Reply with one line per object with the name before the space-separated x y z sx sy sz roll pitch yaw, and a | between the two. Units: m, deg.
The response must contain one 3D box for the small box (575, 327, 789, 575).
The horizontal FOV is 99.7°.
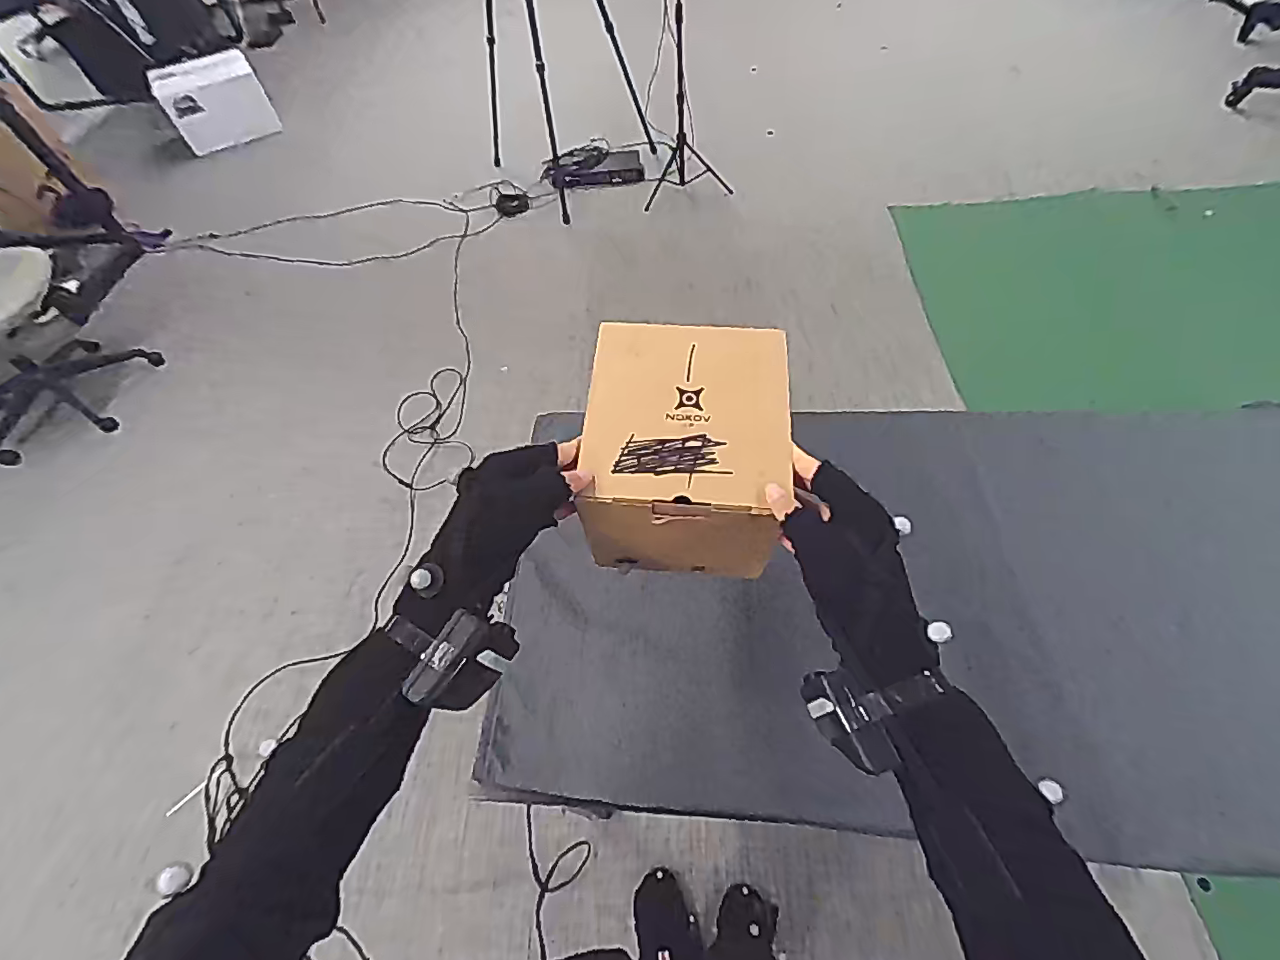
small box | 0.043 -0.019 0.513 0.168 0.176 0.179 4 63 4
